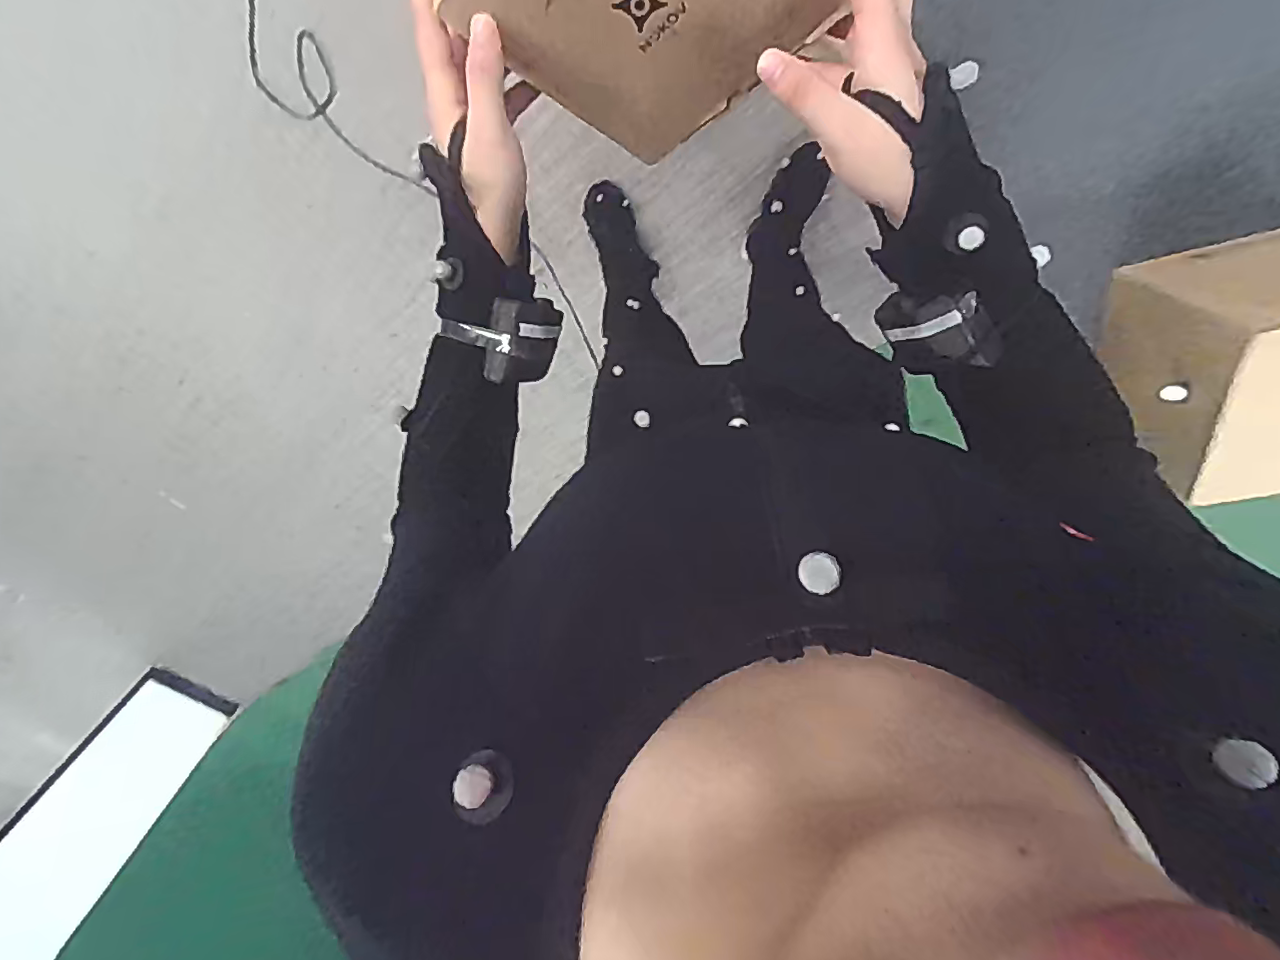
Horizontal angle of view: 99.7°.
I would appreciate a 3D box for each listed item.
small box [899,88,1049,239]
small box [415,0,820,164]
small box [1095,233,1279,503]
[{"bbox_3d":[0.617,-0.601,1.027,0.179,0.176,0.168,-34,117,30],"label":"small box"},{"bbox_3d":[-0.013,-0.347,0.323,0.179,0.176,0.168,9,164,-42],"label":"small box"},{"bbox_3d":[0.556,-0.109,0.485,0.168,0.176,0.179,-11,124,15],"label":"small box"}]
